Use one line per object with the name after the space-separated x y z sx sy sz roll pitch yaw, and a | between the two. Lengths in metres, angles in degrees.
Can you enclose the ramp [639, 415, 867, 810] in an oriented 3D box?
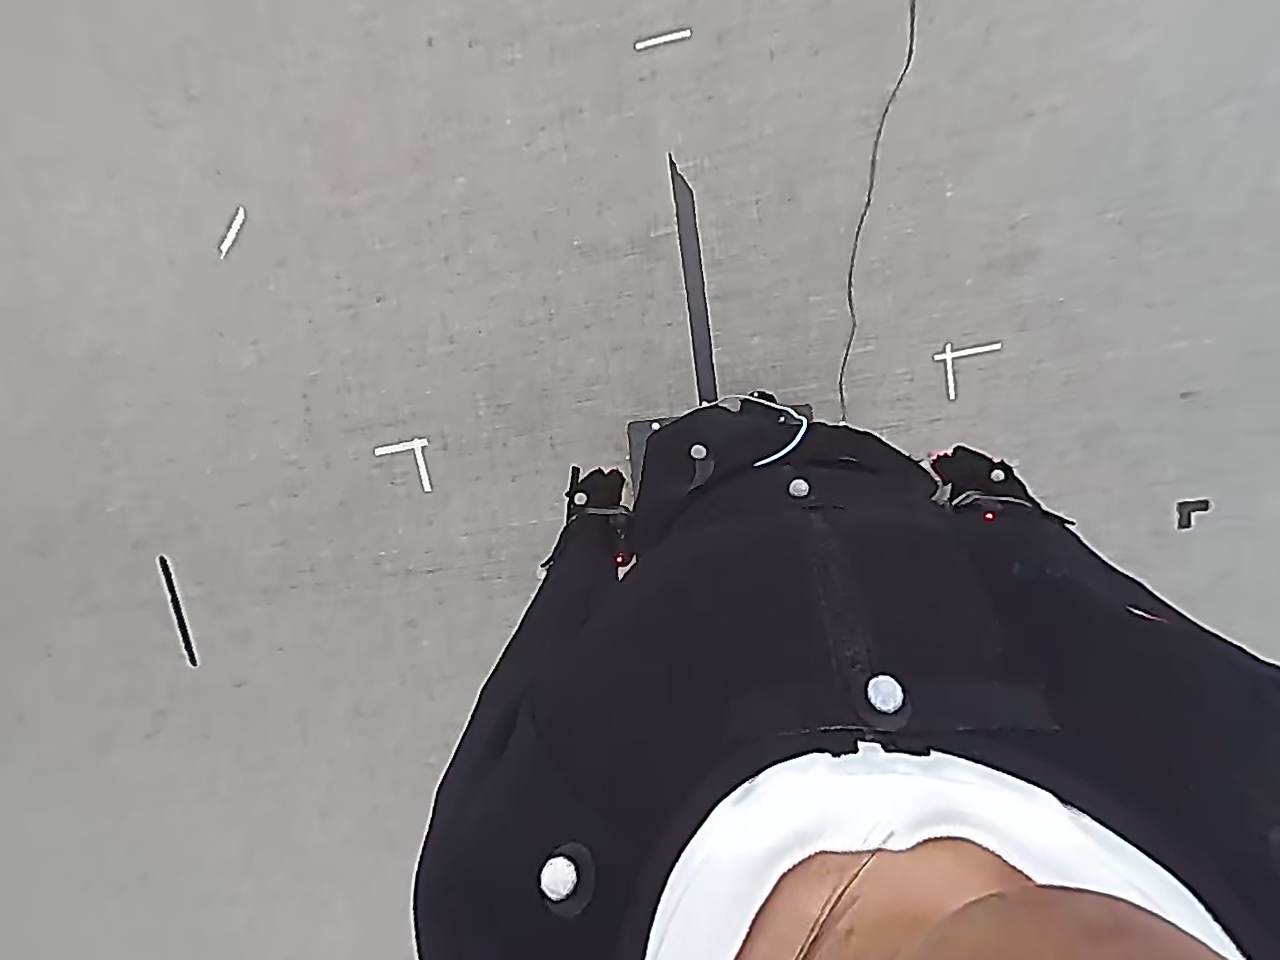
0.279 0.349 1.428 0.509 0.206 0.991 -8 95 11 | ramp
